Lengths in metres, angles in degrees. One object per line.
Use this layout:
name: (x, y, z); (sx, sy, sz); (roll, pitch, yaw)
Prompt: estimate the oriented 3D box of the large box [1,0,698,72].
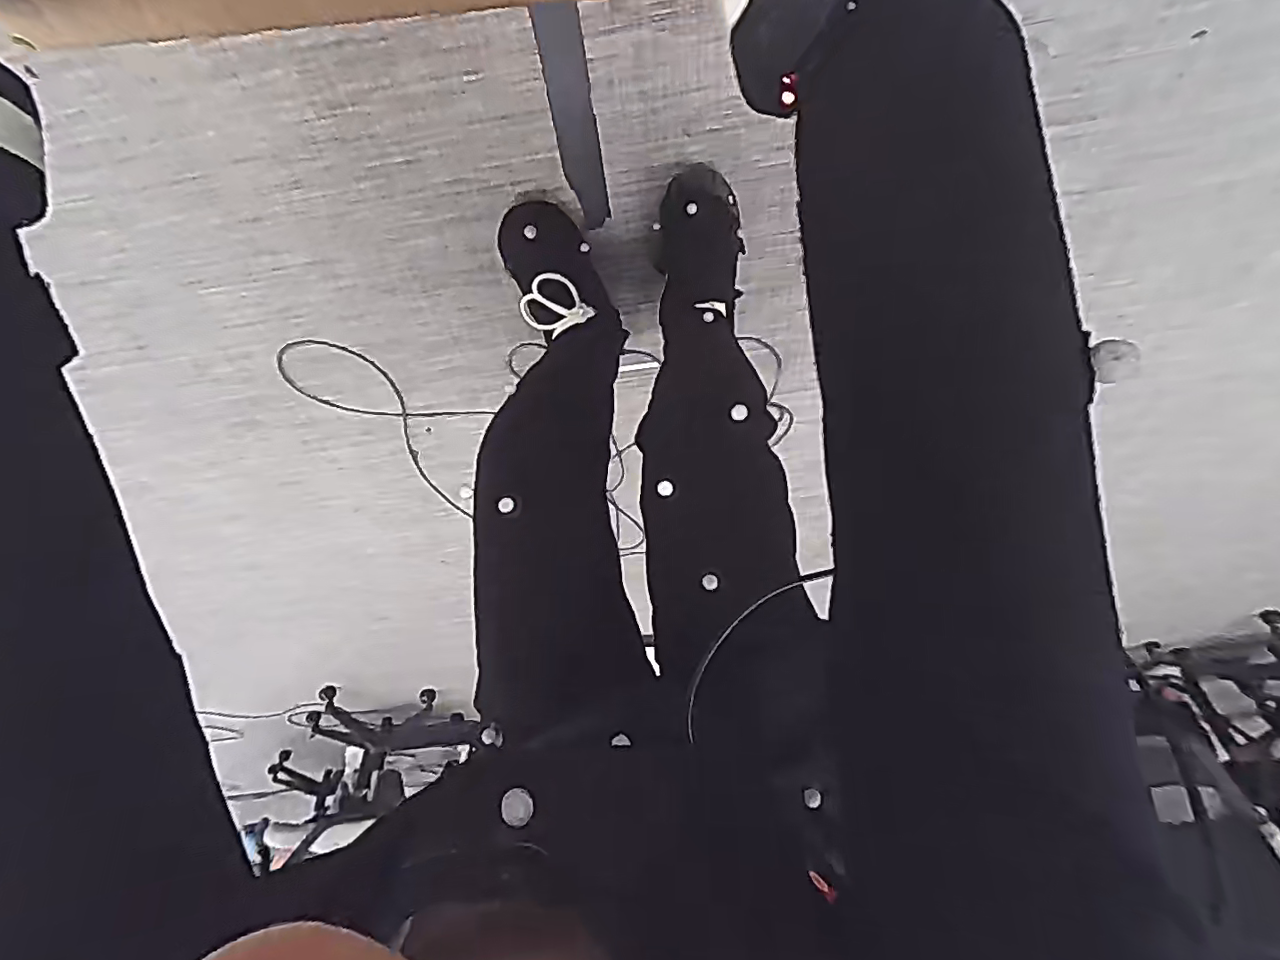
large box: (-0.157, -0.463, 0.277); (0.408, 0.320, 0.320); (-5, 141, 1)
